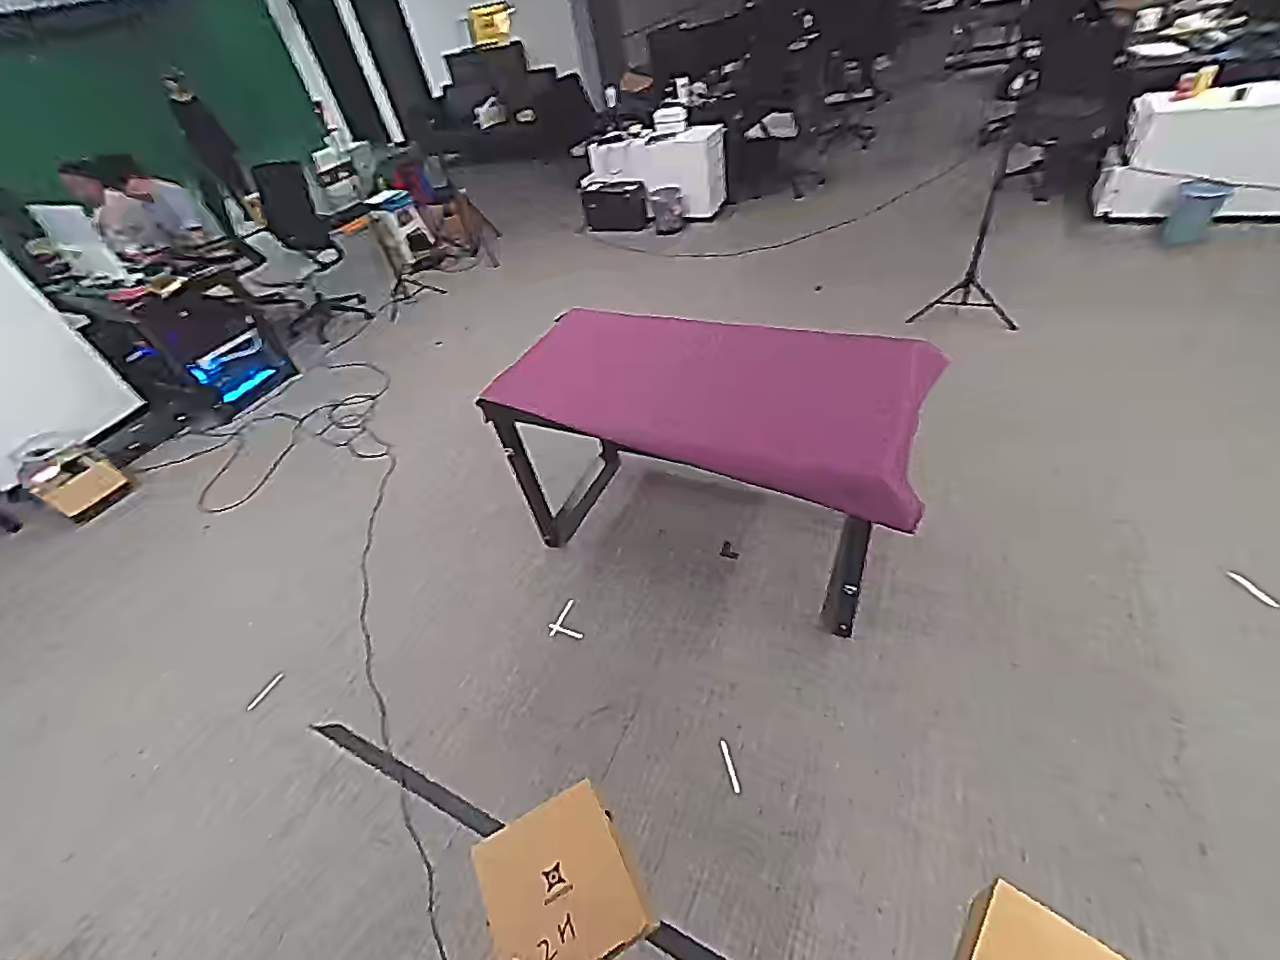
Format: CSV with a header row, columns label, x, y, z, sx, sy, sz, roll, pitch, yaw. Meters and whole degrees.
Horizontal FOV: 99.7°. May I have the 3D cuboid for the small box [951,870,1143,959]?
label,x,y,z,sx,sy,sz,roll,pitch,yaw
small box,0.464,0.607,0.628,0.168,0.176,0.179,21,58,36

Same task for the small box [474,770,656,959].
label,x,y,z,sx,sy,sz,roll,pitch,yaw
small box,-0.092,0.520,0.704,0.168,0.176,0.179,-26,53,-12
